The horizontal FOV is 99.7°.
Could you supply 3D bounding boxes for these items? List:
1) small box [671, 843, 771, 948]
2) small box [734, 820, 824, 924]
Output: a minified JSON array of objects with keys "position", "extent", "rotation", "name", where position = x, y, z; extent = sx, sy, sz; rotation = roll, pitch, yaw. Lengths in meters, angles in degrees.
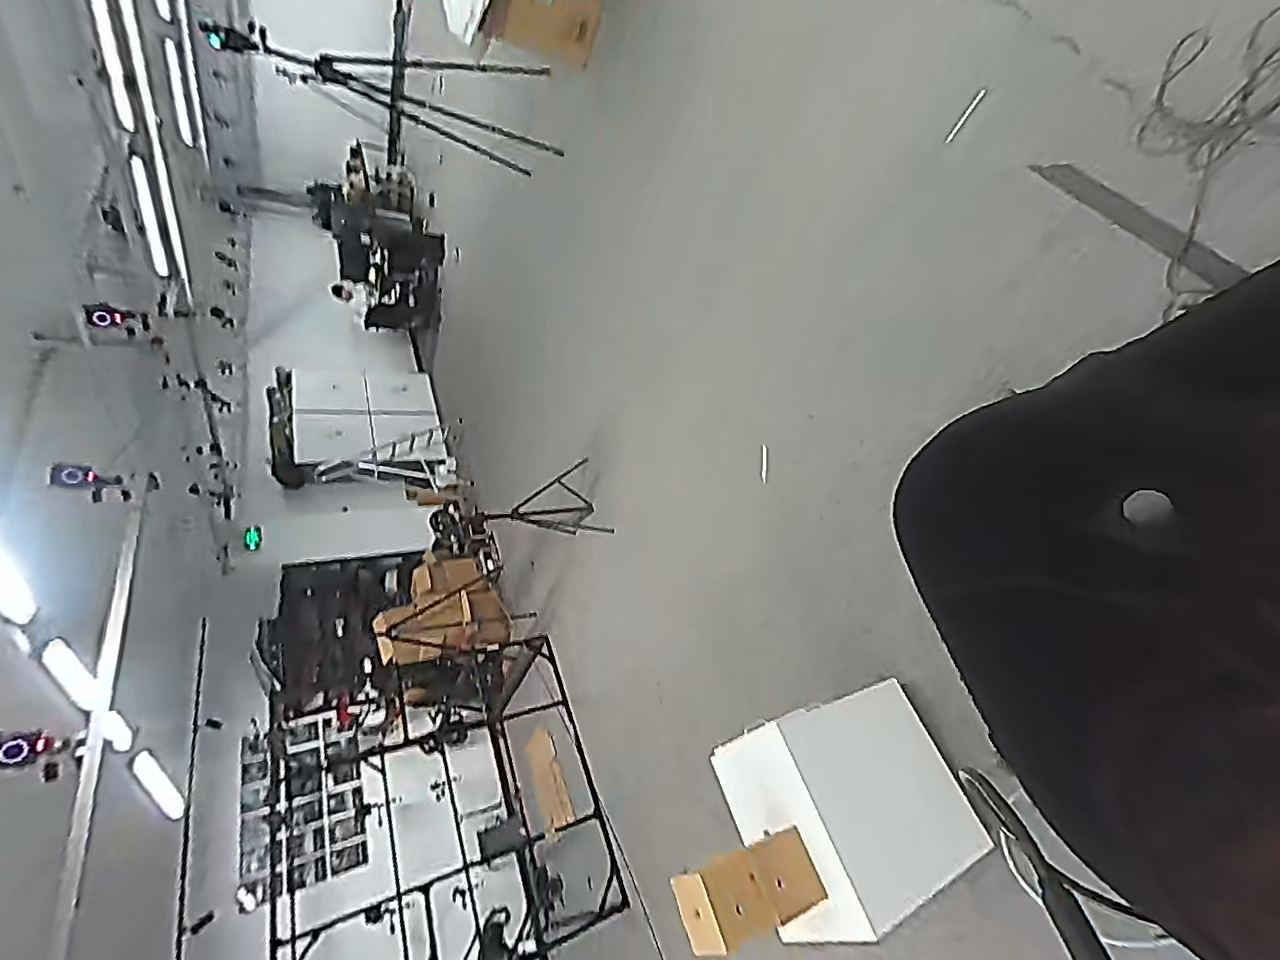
[{"position":[0.212,1.065,1.393],"extent":[0.179,0.176,0.168],"rotation":[-58,46,44],"name":"small box"},{"position":[0.359,1.058,1.462],"extent":[0.168,0.176,0.179],"rotation":[-59,45,43],"name":"small box"}]
